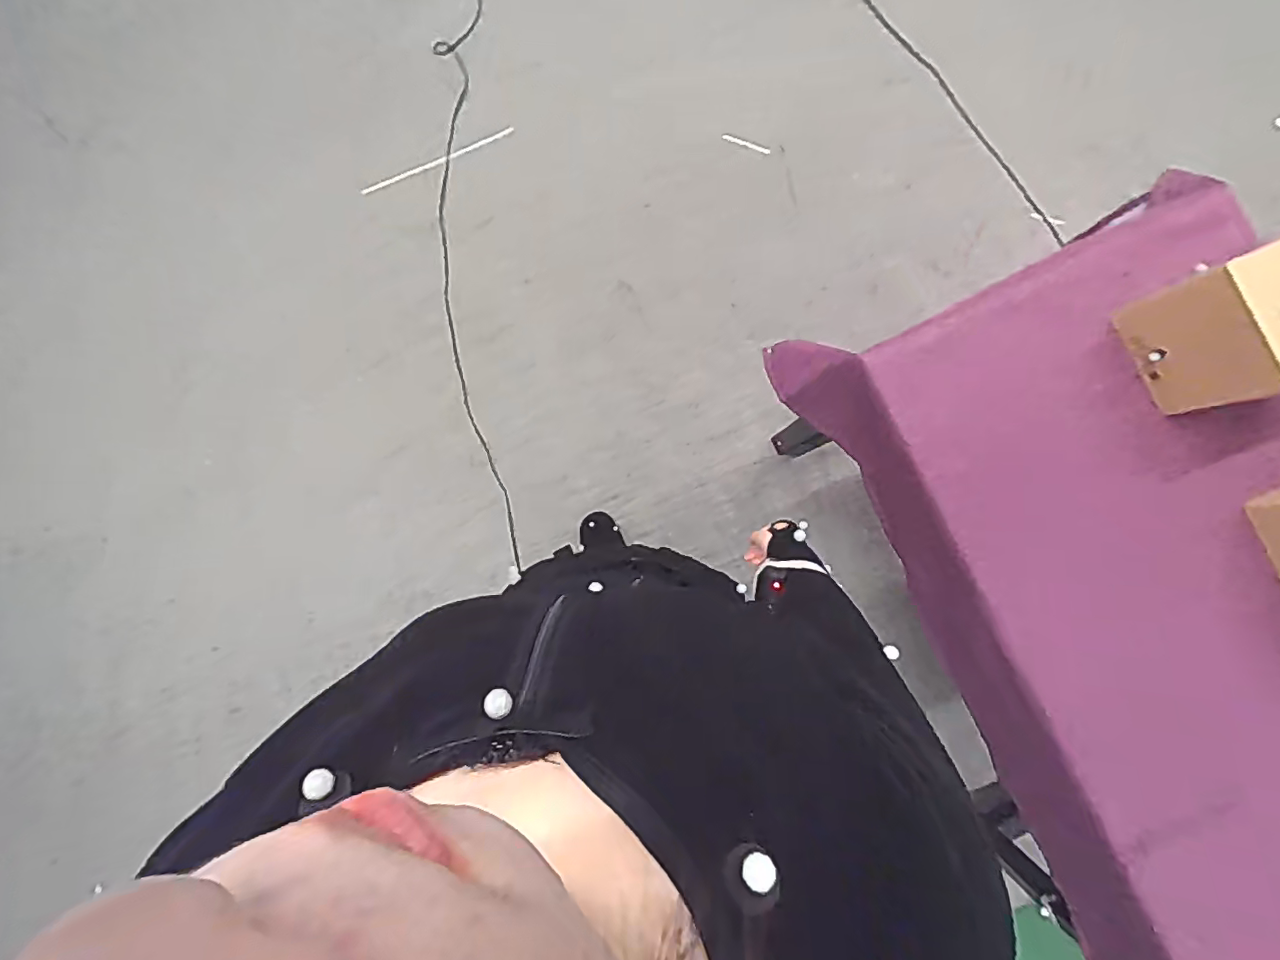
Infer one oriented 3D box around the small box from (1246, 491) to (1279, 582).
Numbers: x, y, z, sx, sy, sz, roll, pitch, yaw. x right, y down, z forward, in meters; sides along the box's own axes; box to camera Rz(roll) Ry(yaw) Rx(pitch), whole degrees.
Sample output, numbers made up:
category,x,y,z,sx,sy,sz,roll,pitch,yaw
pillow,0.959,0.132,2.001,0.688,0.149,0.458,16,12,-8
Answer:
category,x,y,z,sx,sy,sz,roll,pitch,yaw
small box,0.953,0.083,0.676,0.168,0.176,0.179,-23,84,0
